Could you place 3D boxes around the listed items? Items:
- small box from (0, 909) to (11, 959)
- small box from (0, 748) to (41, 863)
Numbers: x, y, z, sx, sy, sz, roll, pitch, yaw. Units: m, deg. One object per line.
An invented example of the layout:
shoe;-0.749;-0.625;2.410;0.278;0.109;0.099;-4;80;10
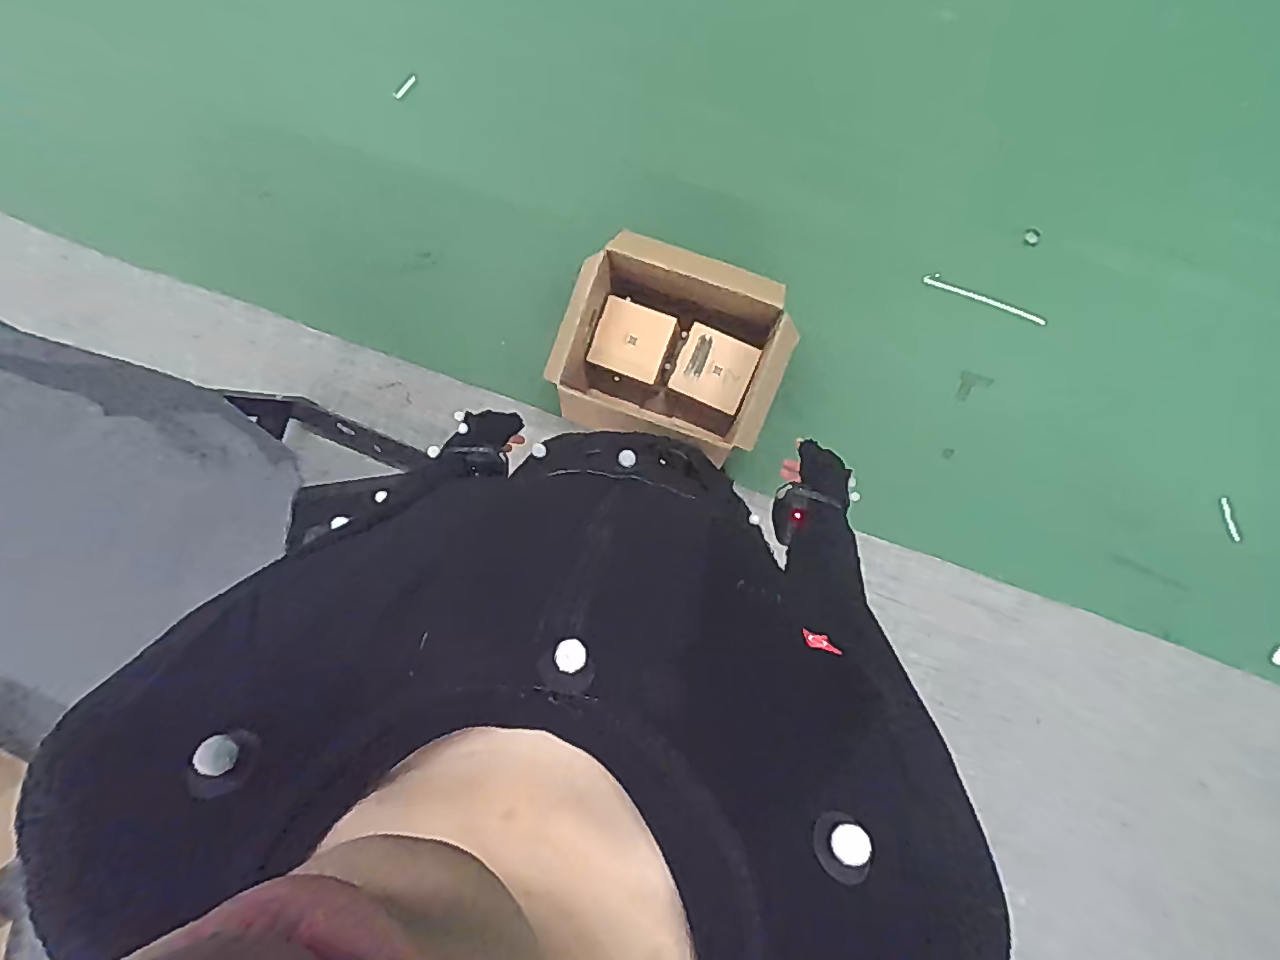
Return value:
small box;-1.156;0.790;0.840;0.168;0.176;0.179;18;95;3
small box;-1.076;0.516;0.809;0.168;0.176;0.179;24;97;3
